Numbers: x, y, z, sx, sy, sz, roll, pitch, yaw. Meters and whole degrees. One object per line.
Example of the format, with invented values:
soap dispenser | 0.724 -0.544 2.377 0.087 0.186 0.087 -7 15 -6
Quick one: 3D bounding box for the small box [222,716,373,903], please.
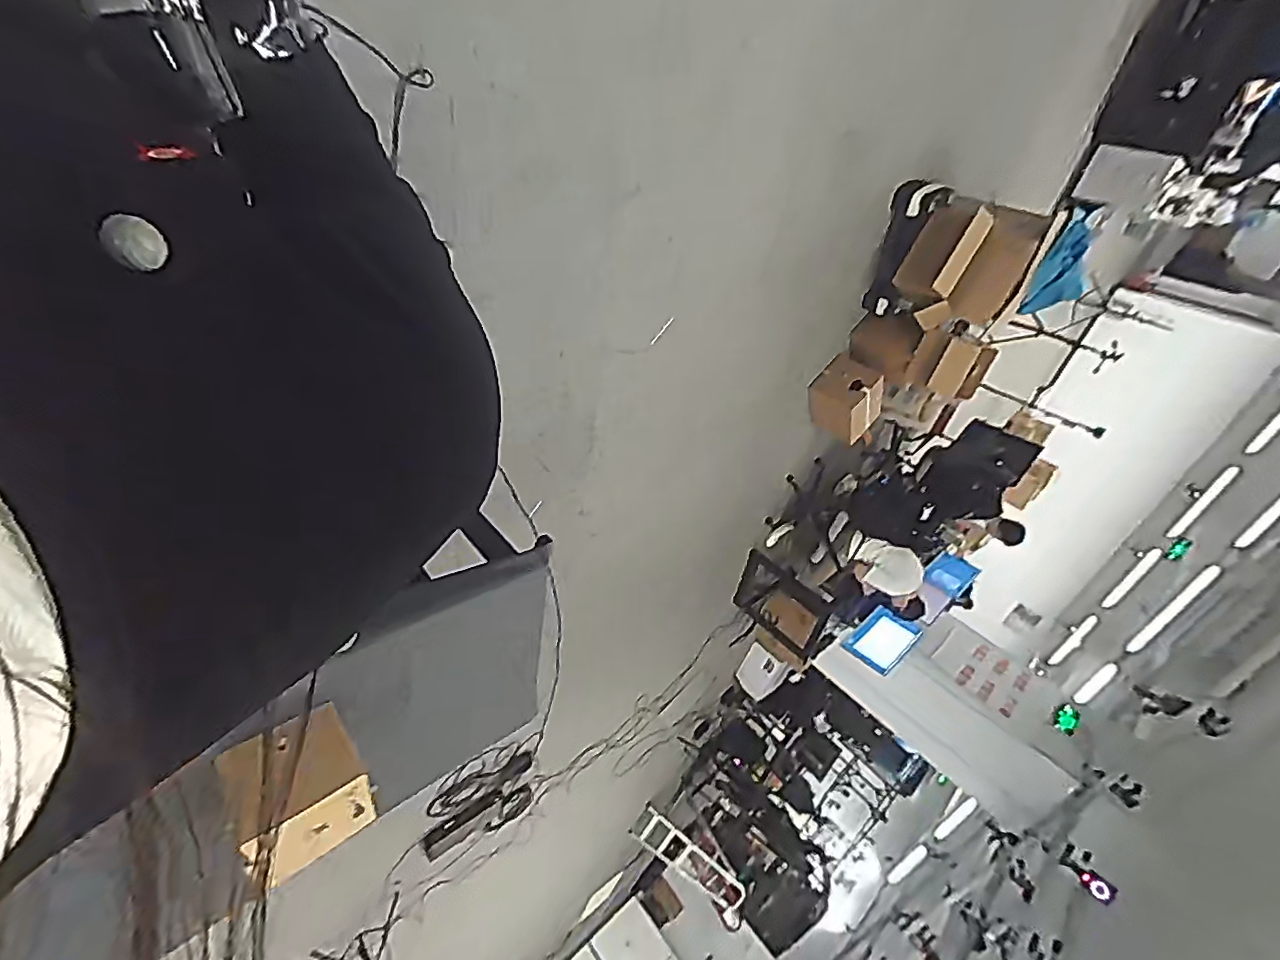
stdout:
small box | -0.578 0.545 0.913 0.179 0.176 0.168 -20 135 -38
